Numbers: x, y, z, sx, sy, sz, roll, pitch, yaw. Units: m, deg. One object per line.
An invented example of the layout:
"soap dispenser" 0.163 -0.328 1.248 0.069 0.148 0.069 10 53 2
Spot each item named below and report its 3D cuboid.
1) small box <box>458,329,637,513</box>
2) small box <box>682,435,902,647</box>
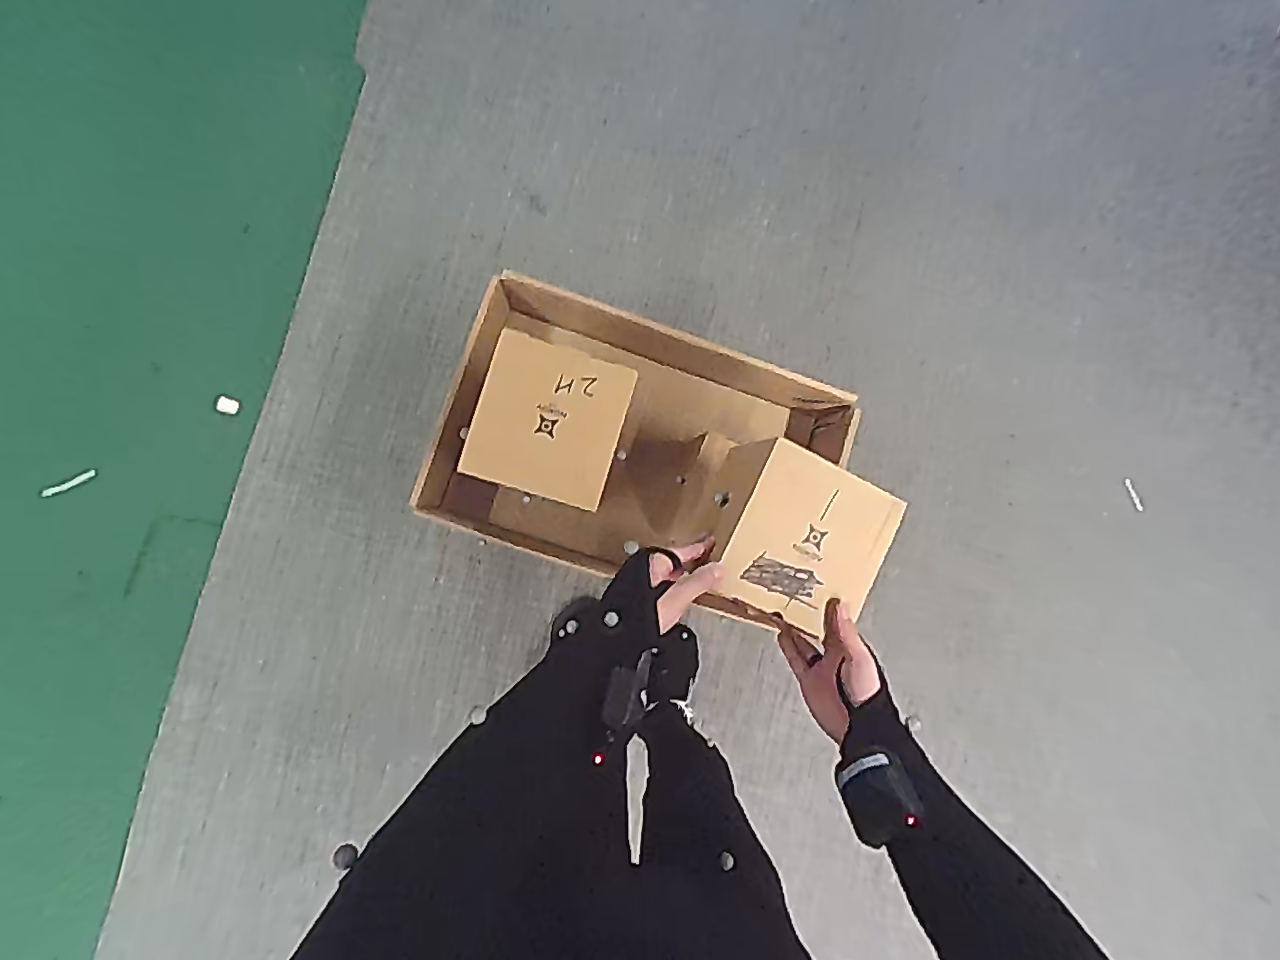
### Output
"small box" -0.112 -0.065 0.699 0.168 0.176 0.179 18 87 -5
"small box" 0.164 0.066 0.647 0.168 0.176 0.179 27 86 -7
